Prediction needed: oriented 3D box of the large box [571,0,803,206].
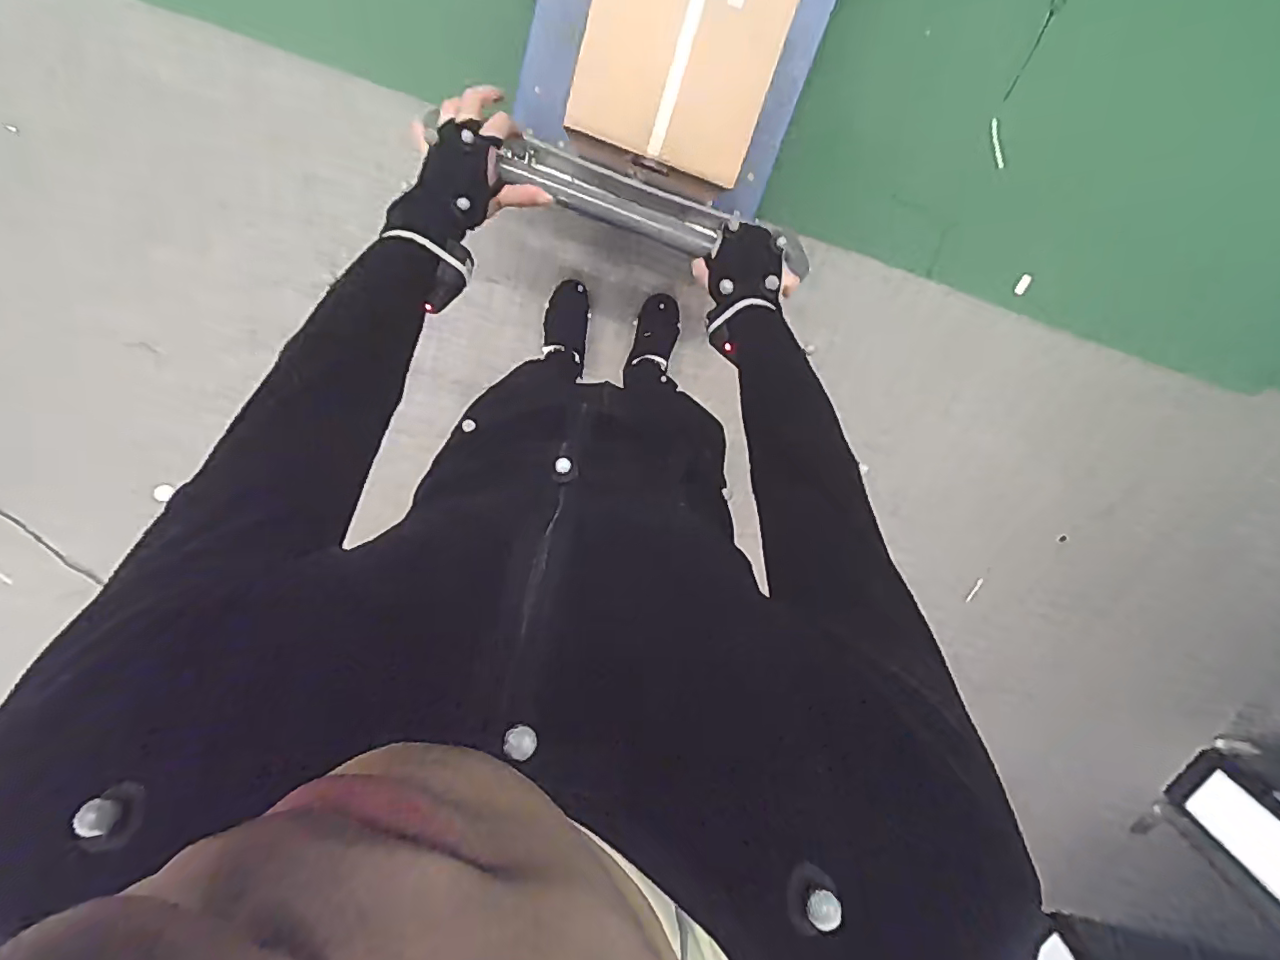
[{"bbox_3d":[0.081,-0.782,1.008,0.320,0.320,0.408,17,111,-9],"label":"large box"}]
